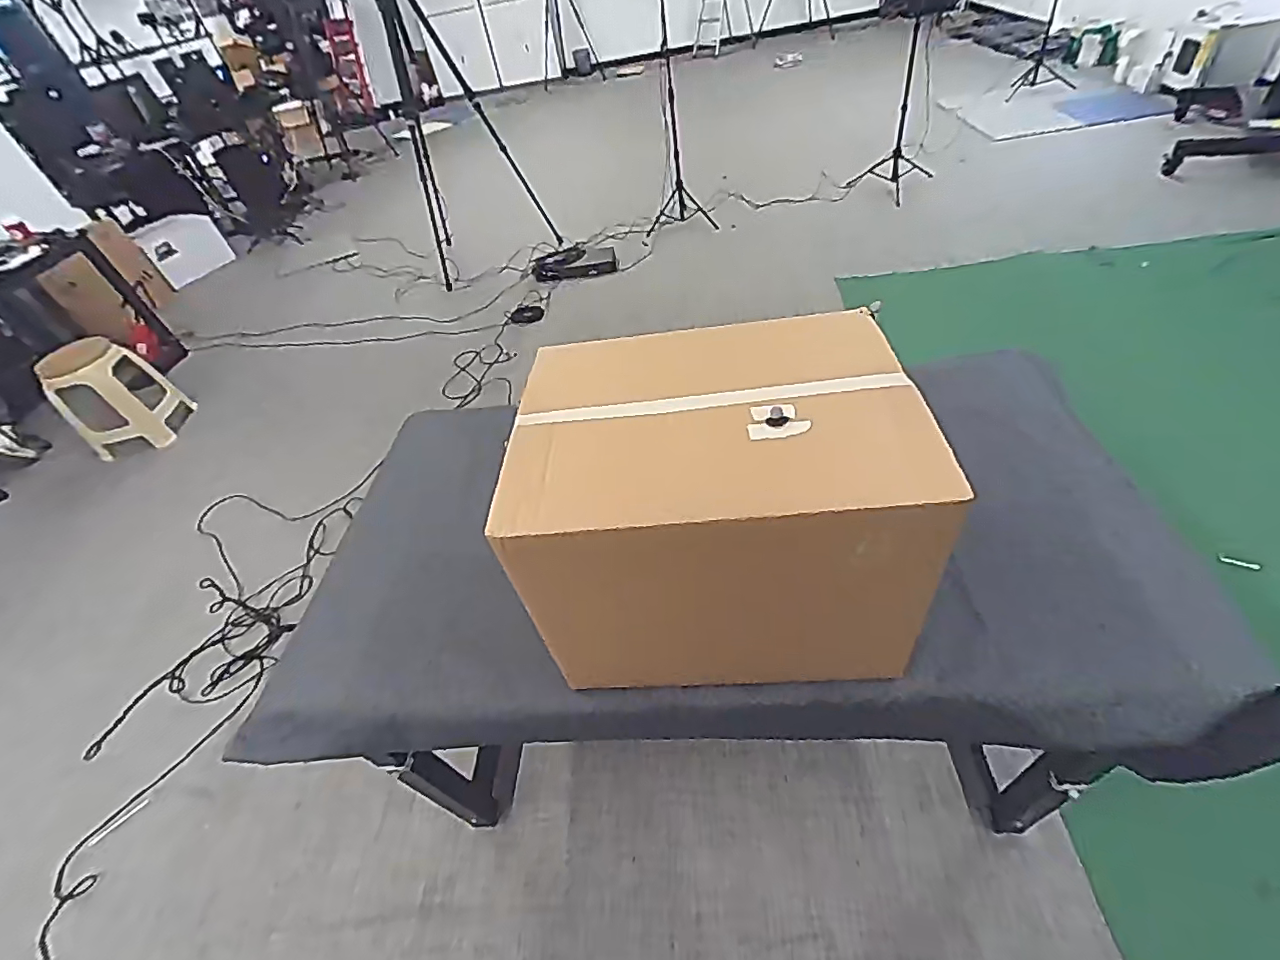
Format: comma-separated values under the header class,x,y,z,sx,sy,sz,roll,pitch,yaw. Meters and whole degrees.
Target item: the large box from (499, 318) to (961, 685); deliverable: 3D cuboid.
class,x,y,z,sx,sy,sz,roll,pitch,yaw
large box,0.089,0.033,0.668,0.408,0.320,0.320,-5,44,7
